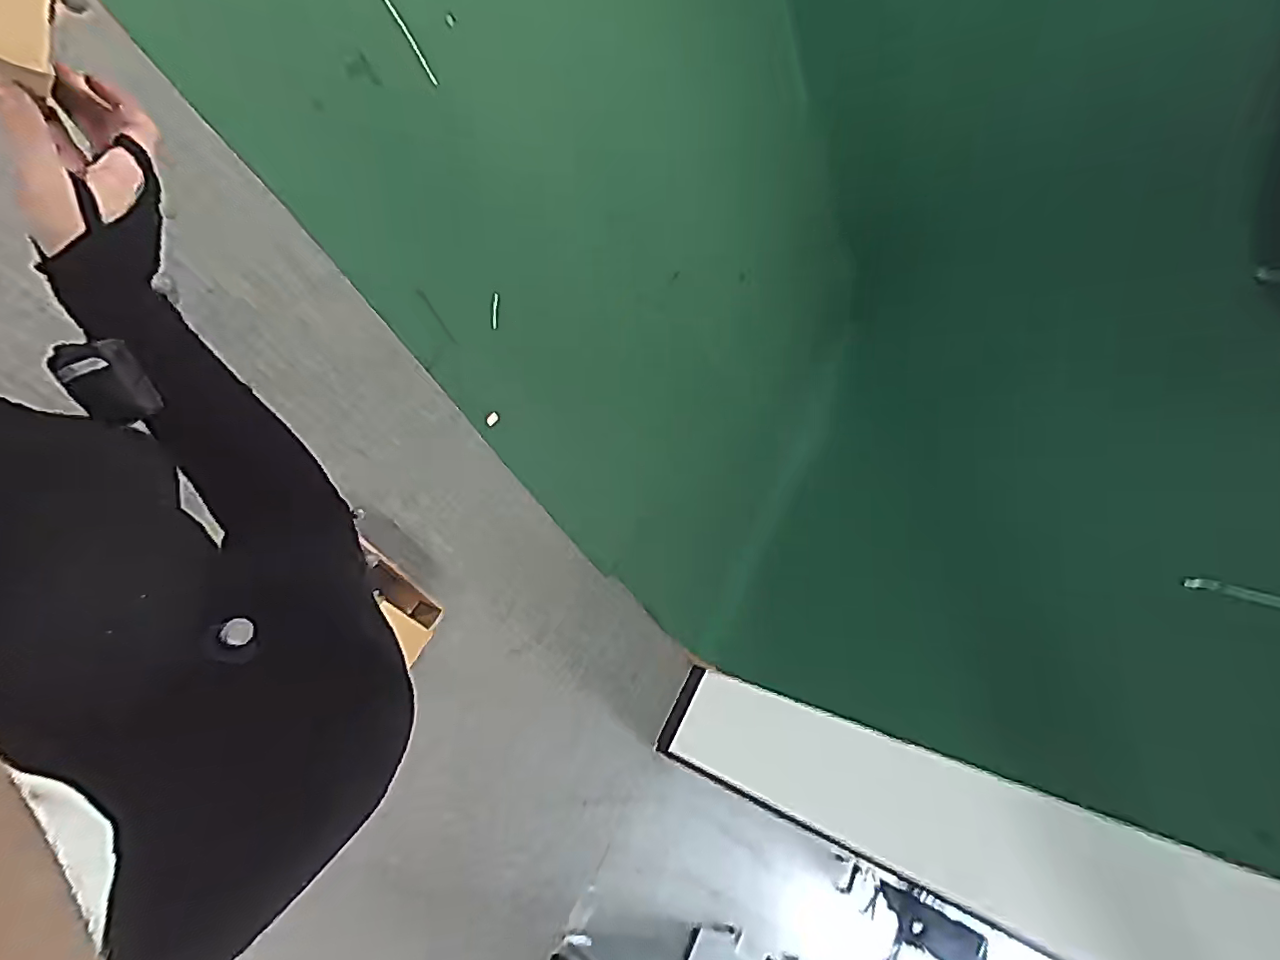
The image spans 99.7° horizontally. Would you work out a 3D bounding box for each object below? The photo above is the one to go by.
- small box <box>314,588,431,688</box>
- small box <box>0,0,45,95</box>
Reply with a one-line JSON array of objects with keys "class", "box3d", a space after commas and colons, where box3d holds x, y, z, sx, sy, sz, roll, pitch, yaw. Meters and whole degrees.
[{"class": "small box", "box3d": [-0.677, 0.390, 1.367, 0.168, 0.176, 0.179, -57, 132, -25]}, {"class": "small box", "box3d": [-0.466, -0.354, 0.302, 0.179, 0.176, 0.168, 3, 100, -51]}]
